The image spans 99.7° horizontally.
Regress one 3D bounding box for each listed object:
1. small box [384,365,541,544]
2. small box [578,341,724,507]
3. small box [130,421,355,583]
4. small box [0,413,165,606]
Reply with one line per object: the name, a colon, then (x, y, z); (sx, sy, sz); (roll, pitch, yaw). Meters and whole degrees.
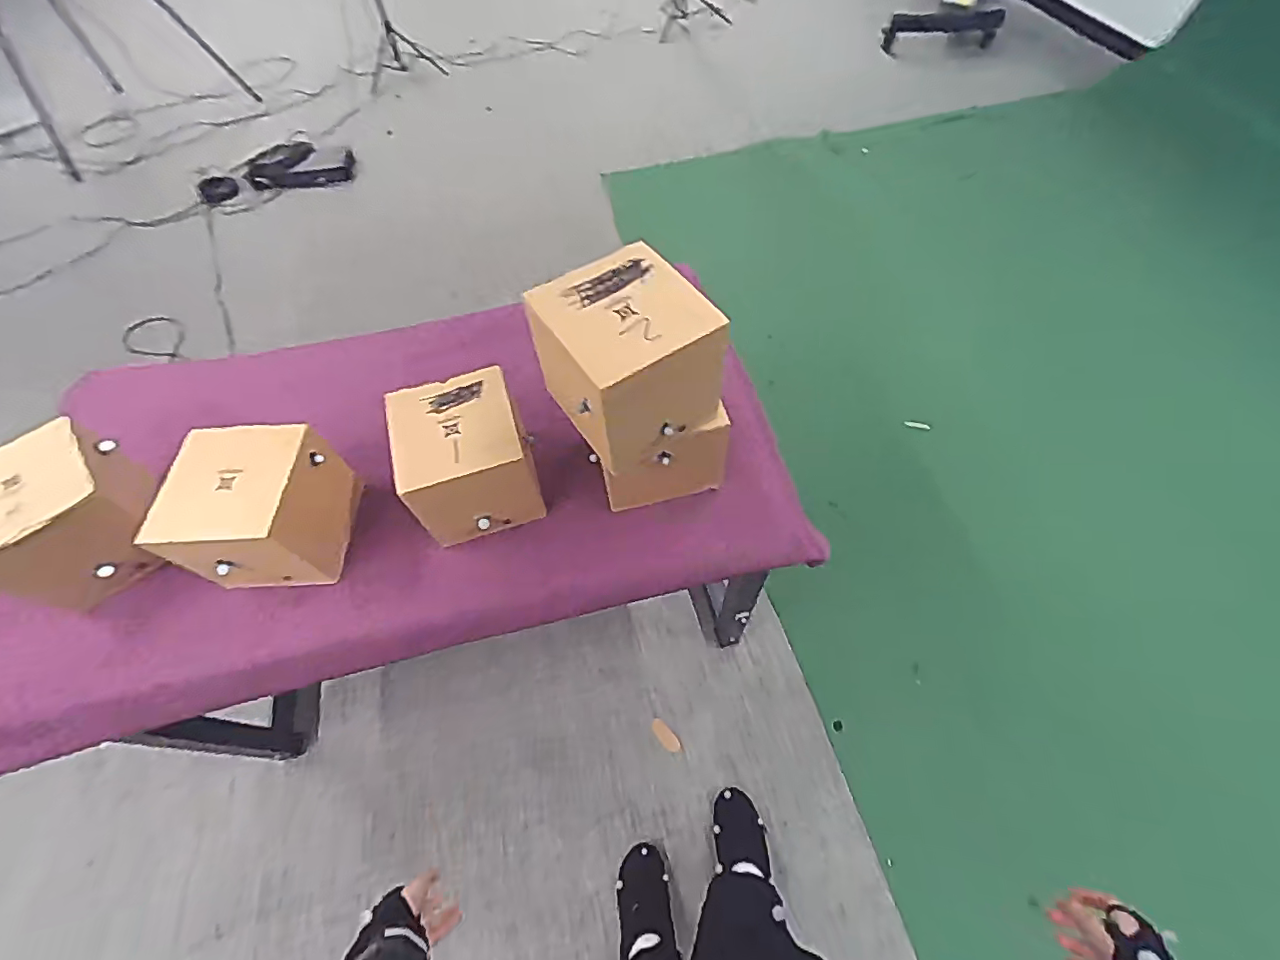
small box: (-0.253, -0.034, 0.792); (0.168, 0.176, 0.179); (-17, 60, -8)
small box: (0.015, -0.077, 0.808); (0.179, 0.176, 0.168); (-12, 58, -5)
small box: (-0.532, 0.039, 0.759); (0.168, 0.176, 0.179); (-3, 58, 1)
small box: (-0.811, 0.047, 0.759); (0.168, 0.176, 0.179); (-38, 65, -19)
